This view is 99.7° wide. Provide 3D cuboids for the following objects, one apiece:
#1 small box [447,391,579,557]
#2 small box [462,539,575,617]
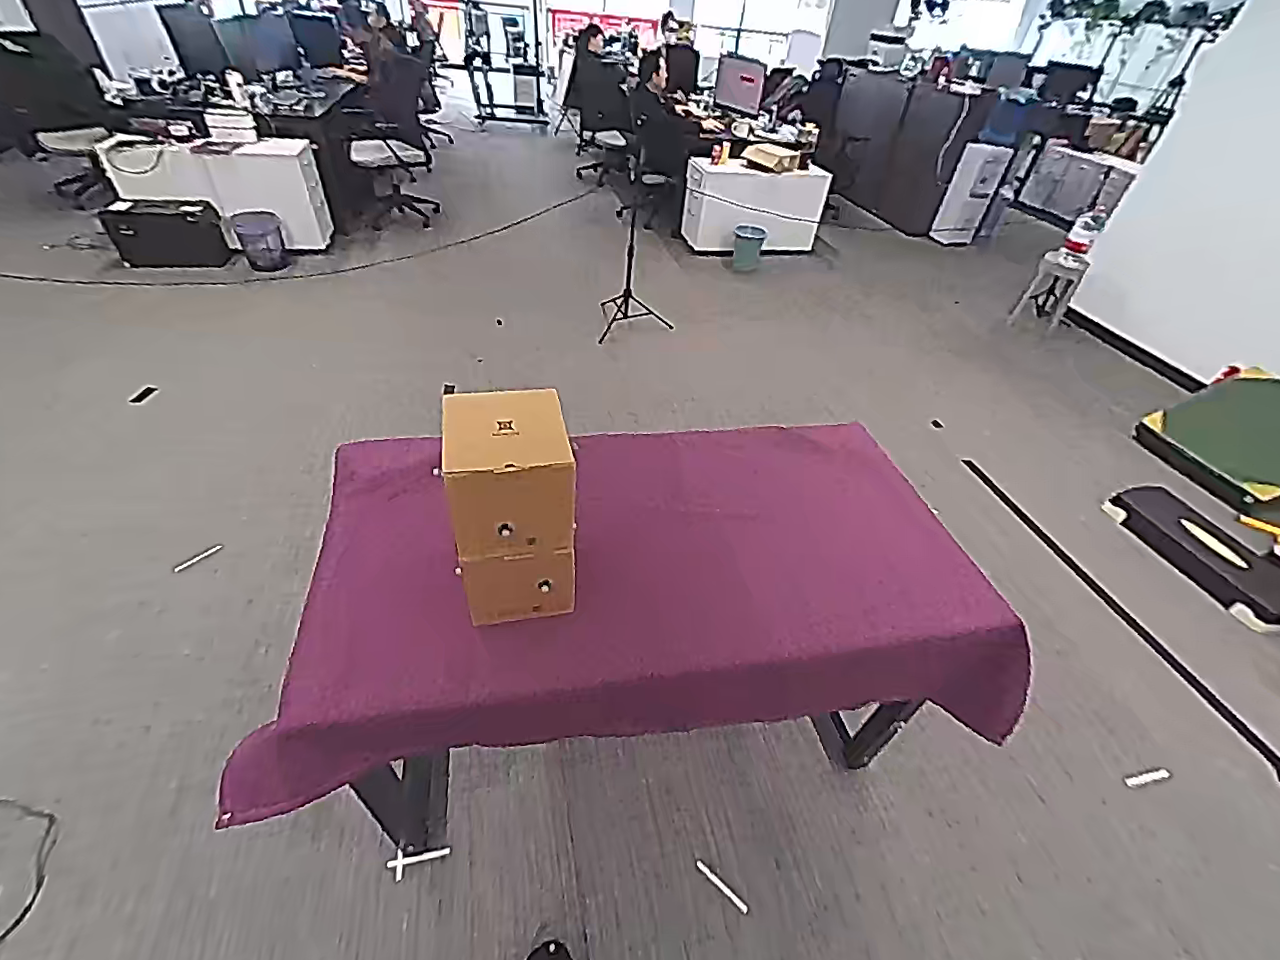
[{"bbox_3d":[-0.188,-0.011,0.793,0.168,0.176,0.179,-5,45,-15],"label":"small box"},{"bbox_3d":[-0.198,0.112,0.899,0.168,0.176,0.179,-4,43,-13],"label":"small box"}]
